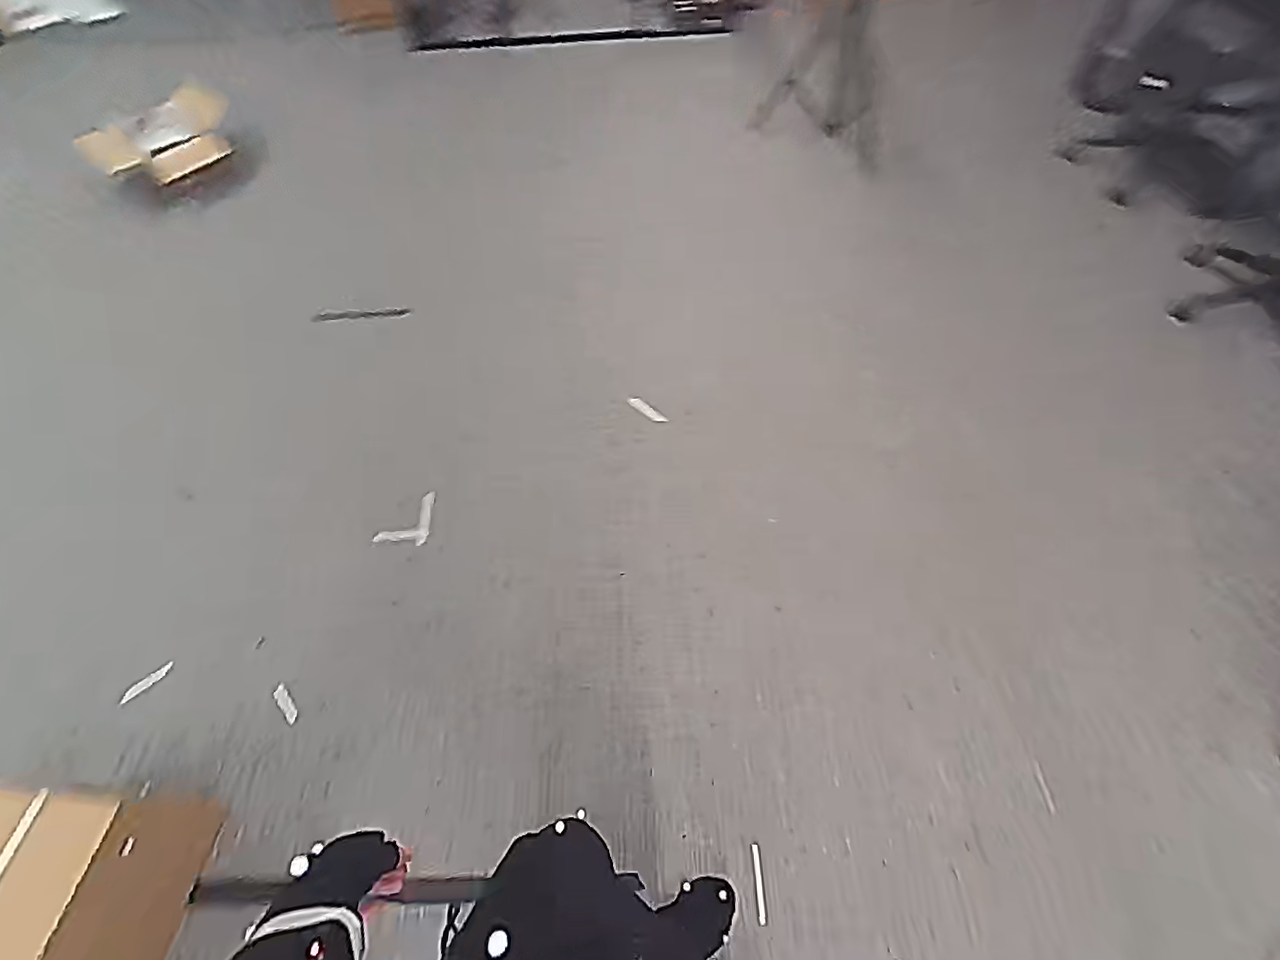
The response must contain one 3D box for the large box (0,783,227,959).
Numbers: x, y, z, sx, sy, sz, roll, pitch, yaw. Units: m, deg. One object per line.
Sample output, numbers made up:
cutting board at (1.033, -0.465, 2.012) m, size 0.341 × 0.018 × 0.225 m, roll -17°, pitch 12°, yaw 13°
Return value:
large box at (-1.134, 0.837, 1.052) m, size 0.320 × 0.320 × 0.408 m, roll 5°, pitch 58°, yaw 5°
